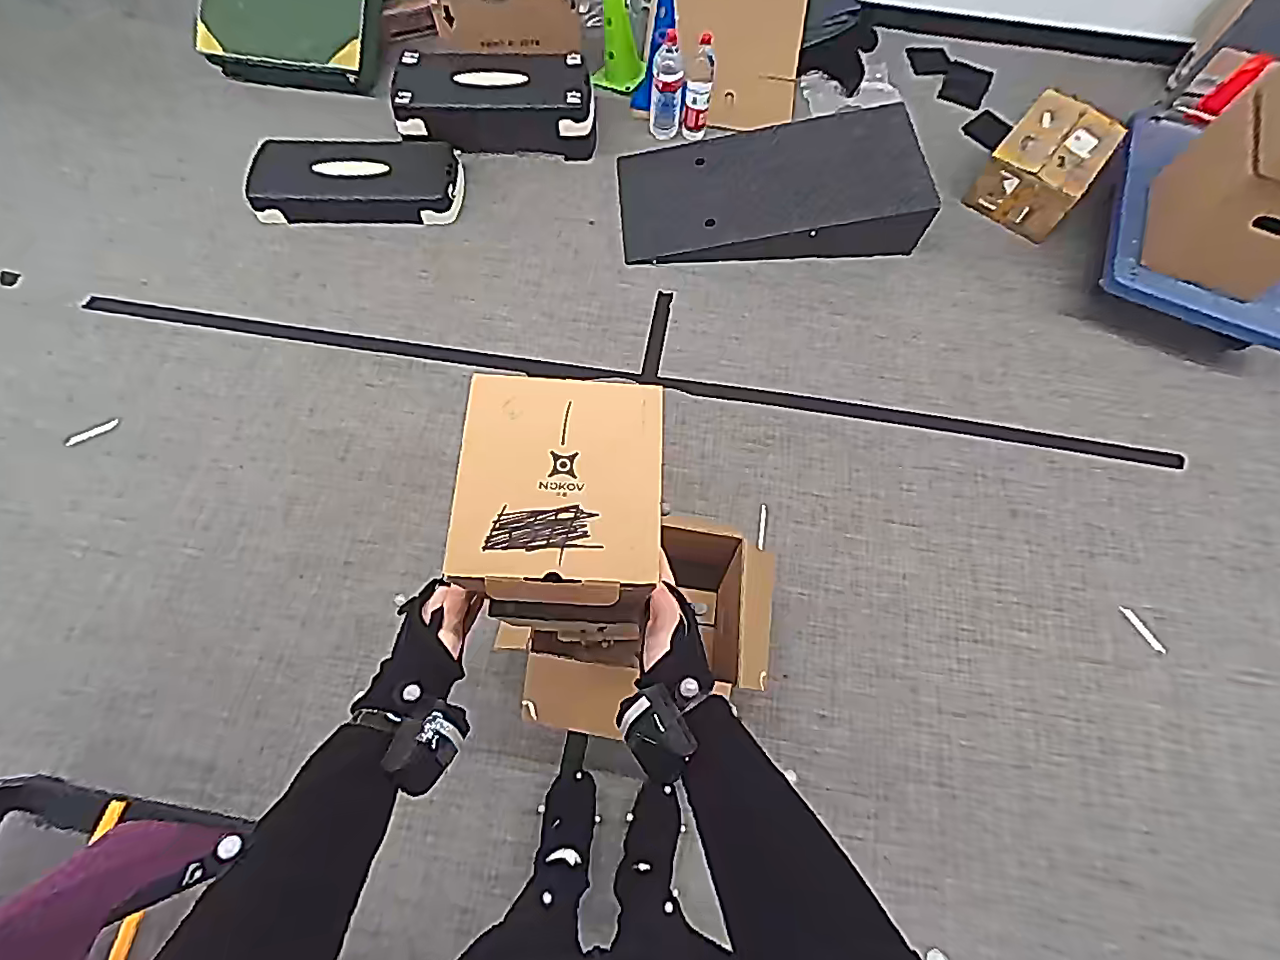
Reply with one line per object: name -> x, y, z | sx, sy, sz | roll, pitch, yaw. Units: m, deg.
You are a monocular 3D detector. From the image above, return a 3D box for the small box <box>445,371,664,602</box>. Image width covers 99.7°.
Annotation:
small box -> -0.070, 0.019, 0.515 | 0.168, 0.176, 0.179 | 4, 71, -4

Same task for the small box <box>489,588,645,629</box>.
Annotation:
small box -> -0.076, 0.088, 0.665 | 0.168, 0.176, 0.179 | 5, 72, -3

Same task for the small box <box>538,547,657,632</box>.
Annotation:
small box -> -0.069, 0.140, 0.820 | 0.179, 0.176, 0.168 | 4, 73, -3
